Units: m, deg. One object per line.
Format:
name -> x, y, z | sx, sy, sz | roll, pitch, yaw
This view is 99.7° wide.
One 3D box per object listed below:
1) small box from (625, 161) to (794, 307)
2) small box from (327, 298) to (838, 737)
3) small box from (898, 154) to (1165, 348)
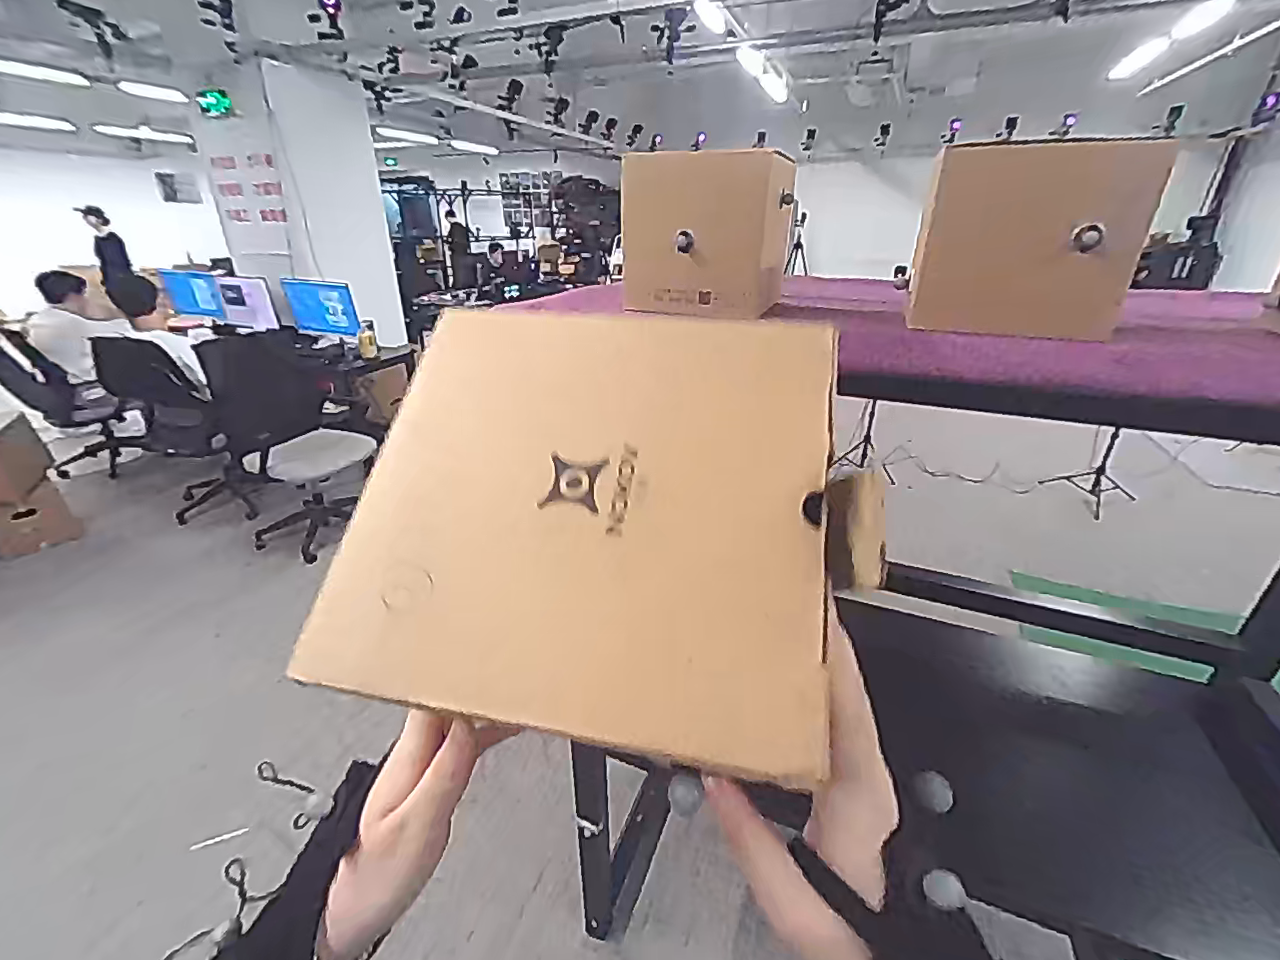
small box -> 0.089, -0.296, 0.682 | 0.168, 0.176, 0.179 | 11, 27, 19
small box -> -0.004, 0.029, 0.280 | 0.179, 0.176, 0.168 | 6, 64, 10
small box -> 0.389, -0.240, 0.579 | 0.179, 0.176, 0.168 | 9, 26, 20
